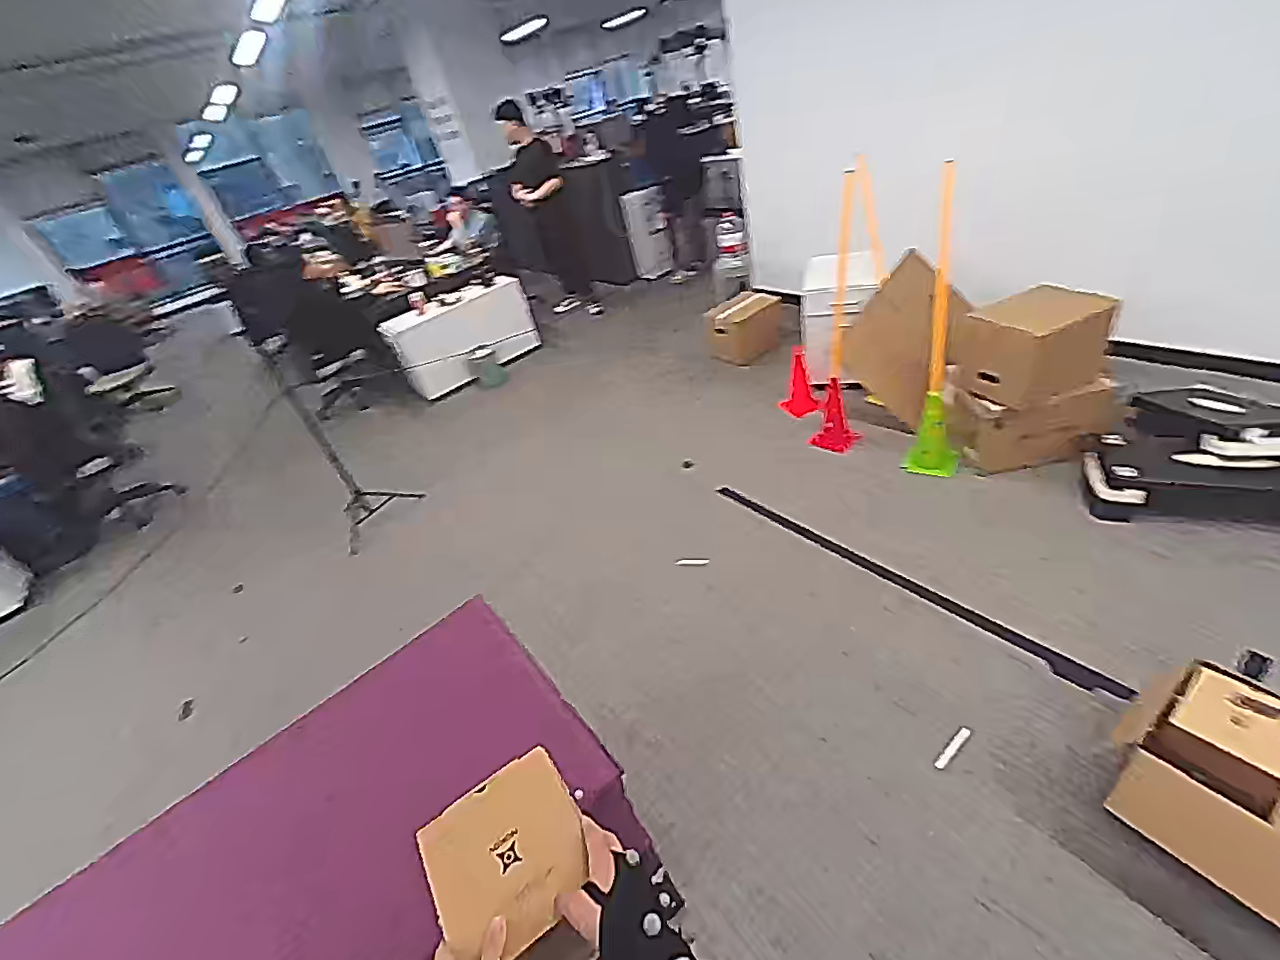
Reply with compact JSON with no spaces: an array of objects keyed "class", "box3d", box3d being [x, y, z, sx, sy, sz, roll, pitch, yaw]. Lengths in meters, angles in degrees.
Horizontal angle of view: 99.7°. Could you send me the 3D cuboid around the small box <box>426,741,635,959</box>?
[{"class":"small box","box3d":[-0.126,0.465,0.645,0.168,0.176,0.179,-28,40,-19]}]
